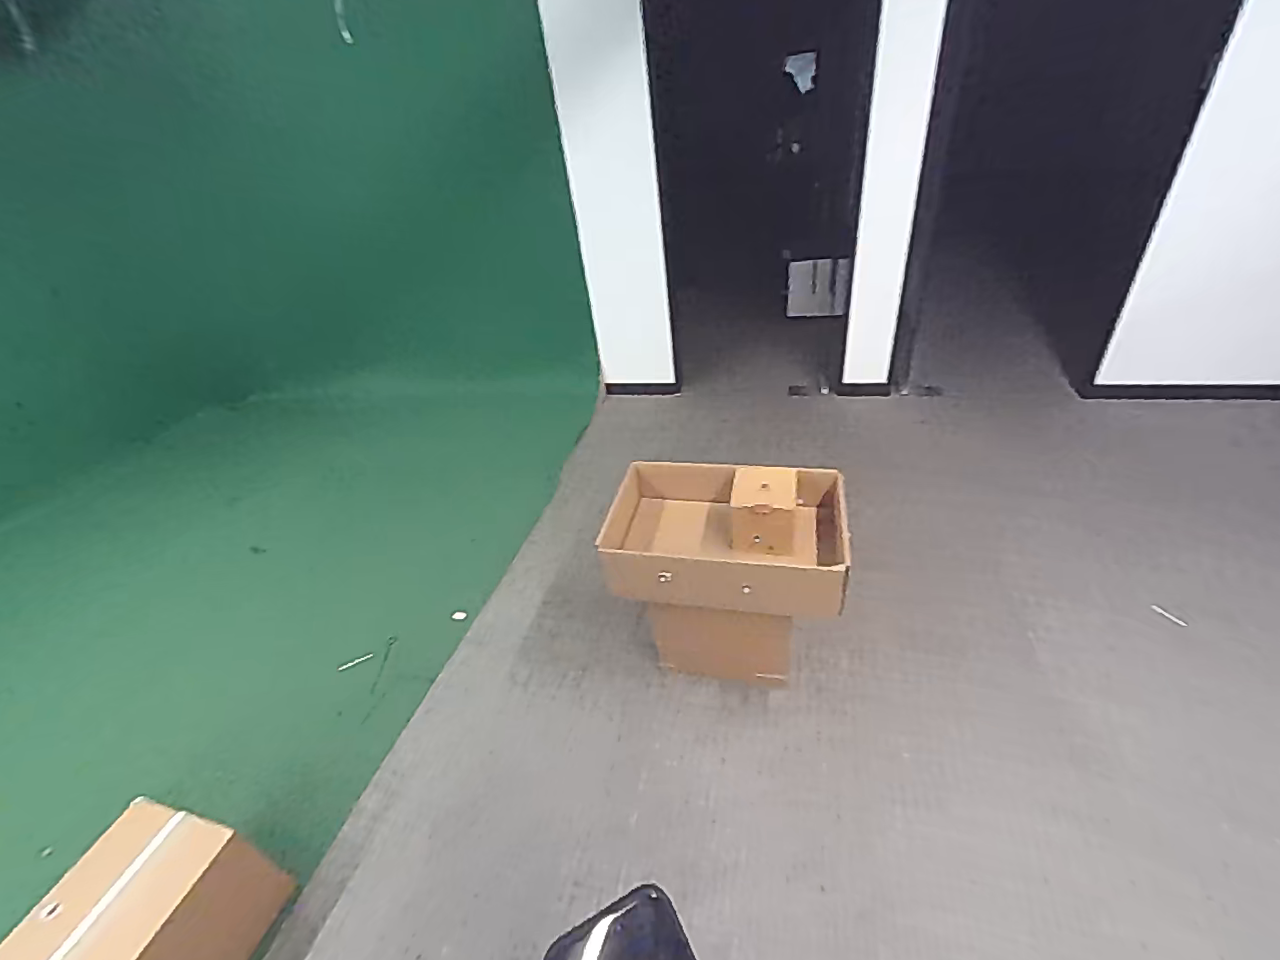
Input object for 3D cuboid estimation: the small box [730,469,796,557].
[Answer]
[{"bbox_3d":[0.342,0.089,1.493,0.168,0.176,0.179,2,37,16],"label":"small box"}]
